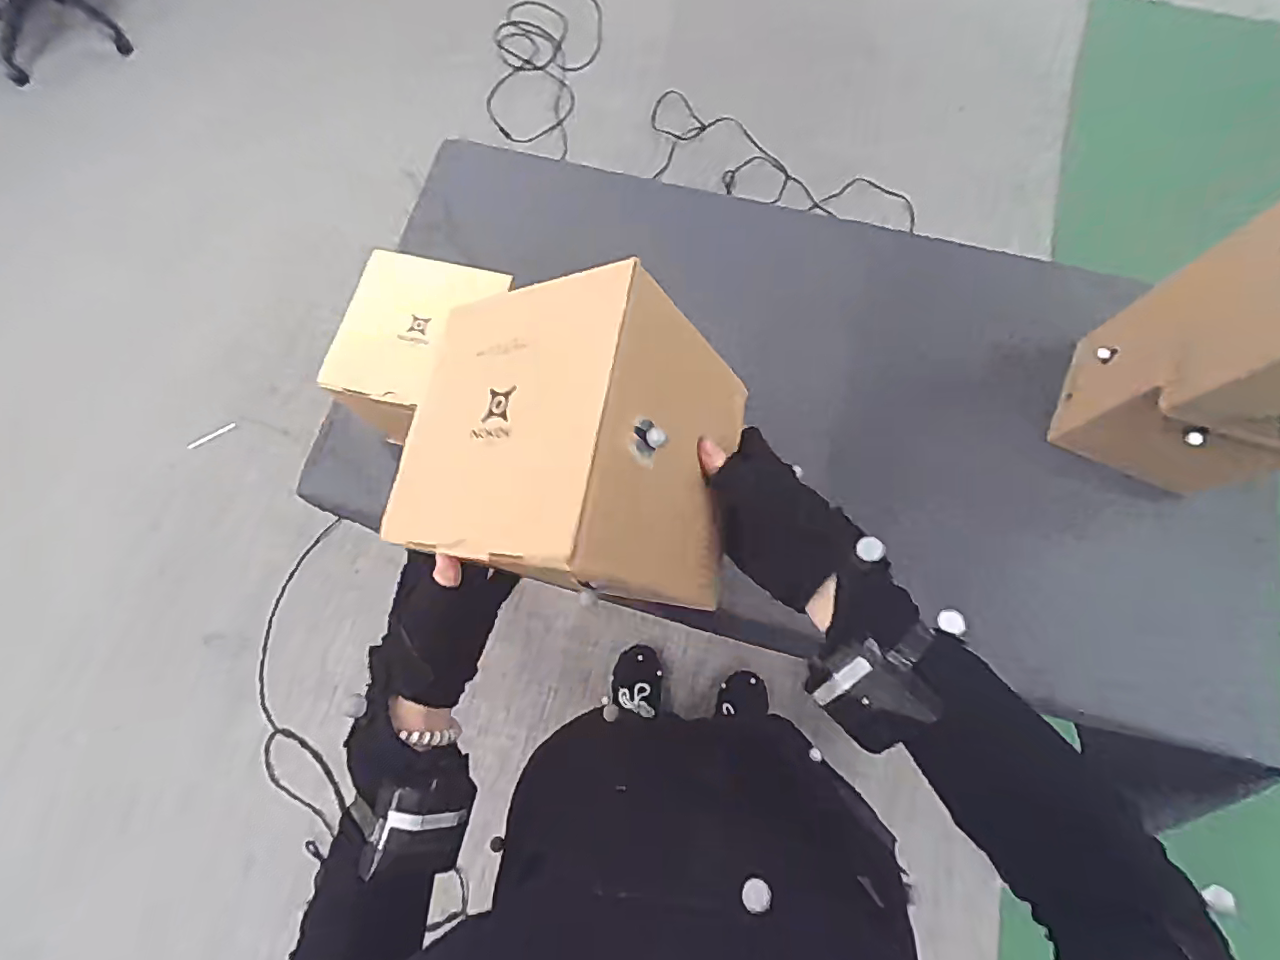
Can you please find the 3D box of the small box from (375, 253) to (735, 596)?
[{"bbox_3d":[-0.046,-0.021,0.386,0.168,0.176,0.179,1,72,34],"label":"small box"}]

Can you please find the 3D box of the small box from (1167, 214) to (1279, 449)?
[{"bbox_3d":[0.618,-0.140,0.467,0.168,0.176,0.179,20,76,8],"label":"small box"}]

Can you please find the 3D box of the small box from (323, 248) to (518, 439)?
[{"bbox_3d":[-0.234,-0.142,0.658,0.168,0.176,0.179,13,75,4],"label":"small box"}]

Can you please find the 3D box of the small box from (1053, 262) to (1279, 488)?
[{"bbox_3d":[0.636,-0.108,0.627,0.179,0.176,0.168,26,77,8],"label":"small box"}]
